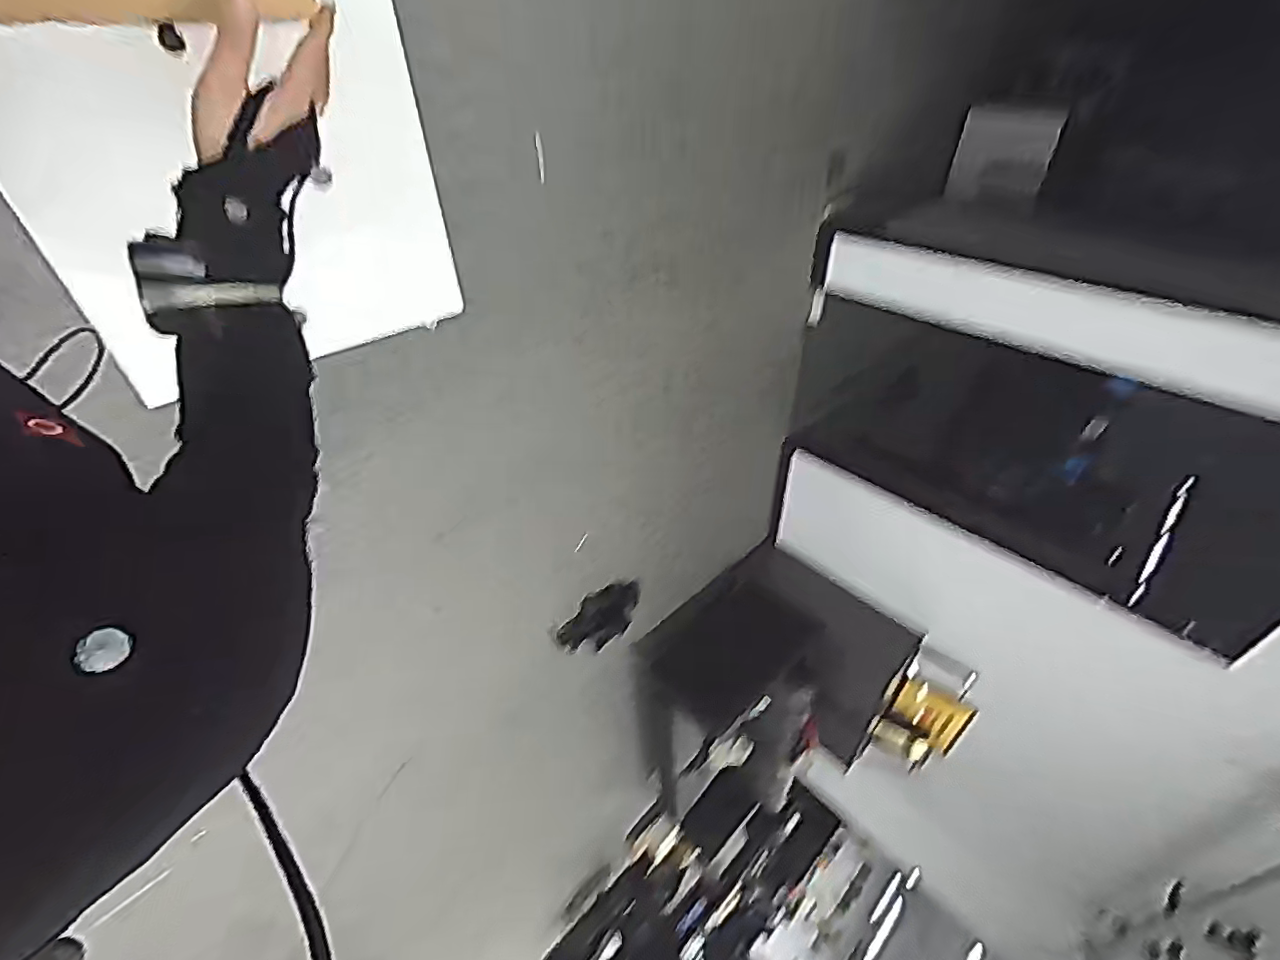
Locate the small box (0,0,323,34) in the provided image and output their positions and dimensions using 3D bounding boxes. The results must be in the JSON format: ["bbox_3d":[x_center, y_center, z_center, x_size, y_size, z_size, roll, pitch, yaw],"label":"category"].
[{"bbox_3d":[-0.322,-0.384,0.331,0.179,0.176,0.168,-17,134,-18],"label":"small box"}]
